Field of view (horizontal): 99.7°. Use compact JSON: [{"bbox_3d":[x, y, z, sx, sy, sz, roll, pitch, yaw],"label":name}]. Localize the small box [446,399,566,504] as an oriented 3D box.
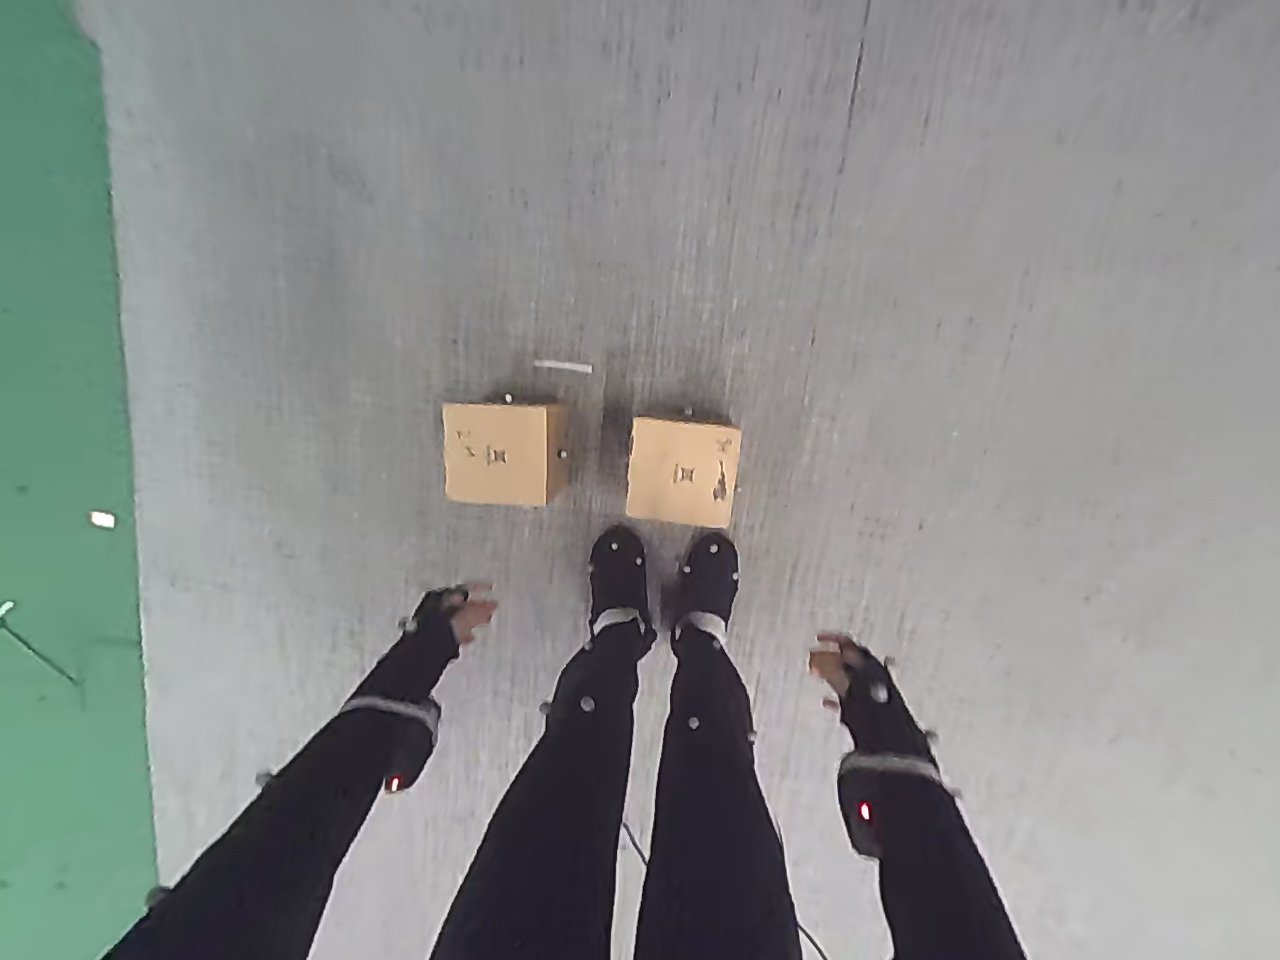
[{"bbox_3d":[-0.234,-0.059,0.983,0.179,0.176,0.168,3,100,4],"label":"small box"}]
